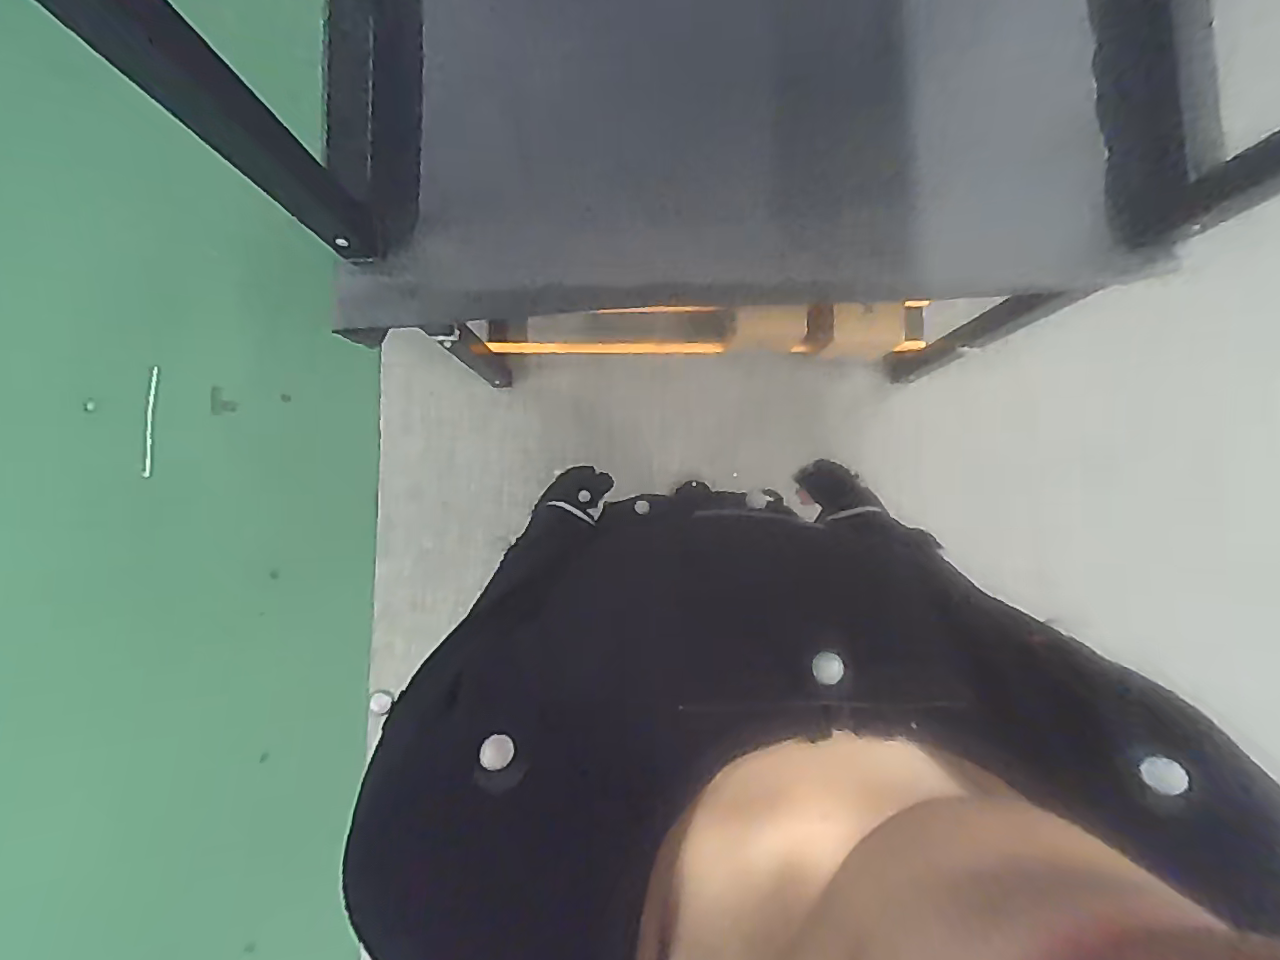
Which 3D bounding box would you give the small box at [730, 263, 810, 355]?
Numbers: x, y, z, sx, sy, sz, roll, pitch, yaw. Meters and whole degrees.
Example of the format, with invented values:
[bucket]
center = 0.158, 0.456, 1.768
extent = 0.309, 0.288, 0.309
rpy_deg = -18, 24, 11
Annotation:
[small box]
center = 0.314, -0.410, 1.327
extent = 0.168, 0.176, 0.179
rpy_deg = -1, 87, 2
